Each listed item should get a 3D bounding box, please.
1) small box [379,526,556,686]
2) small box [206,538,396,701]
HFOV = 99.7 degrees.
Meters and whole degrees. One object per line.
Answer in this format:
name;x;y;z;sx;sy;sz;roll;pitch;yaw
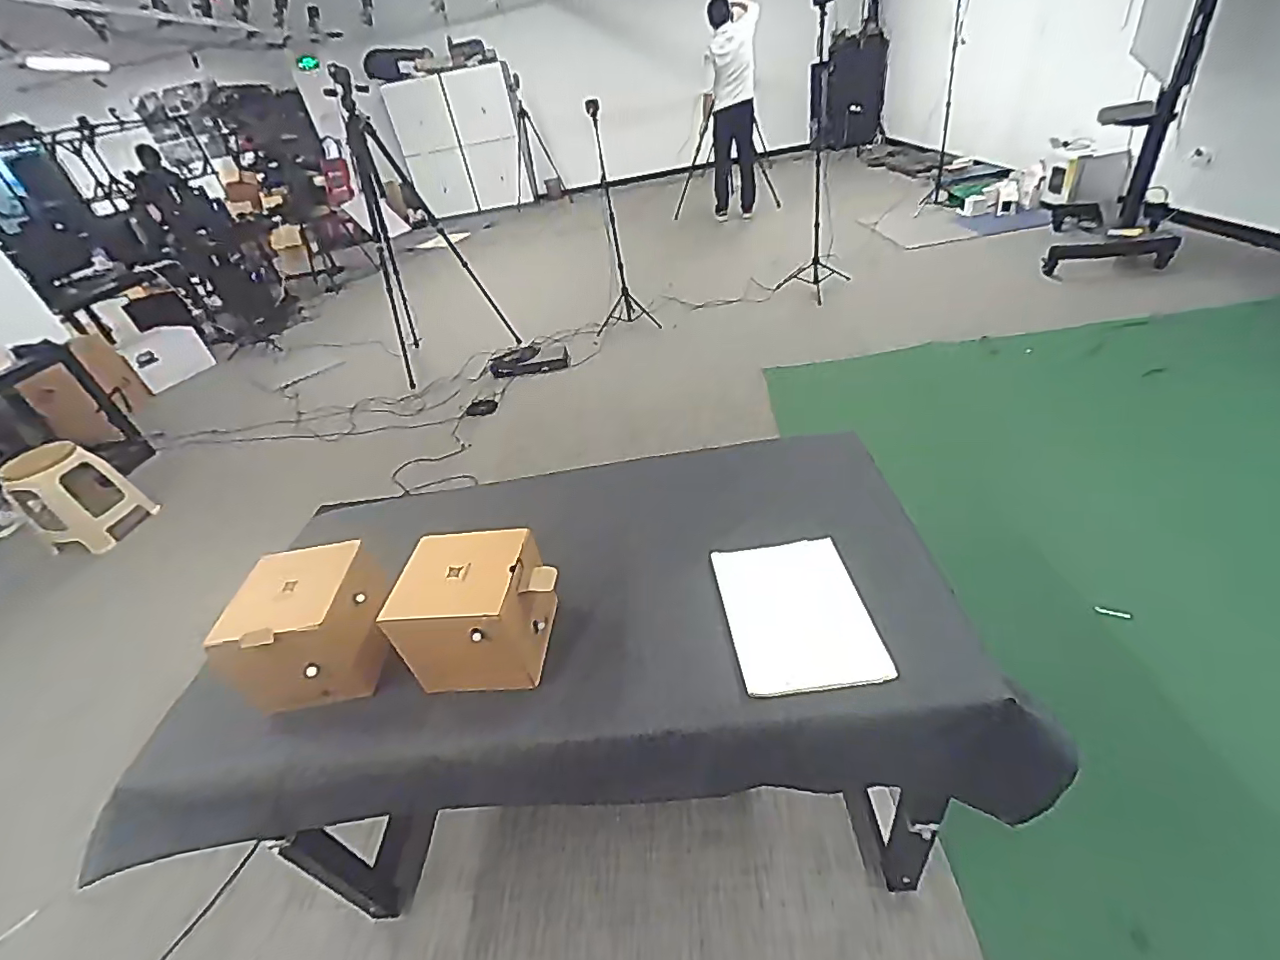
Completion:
small box;-0.240;0.189;0.804;0.179;0.176;0.168;-5;36;8
small box;-0.496;0.219;0.834;0.168;0.176;0.179;-10;35;1
